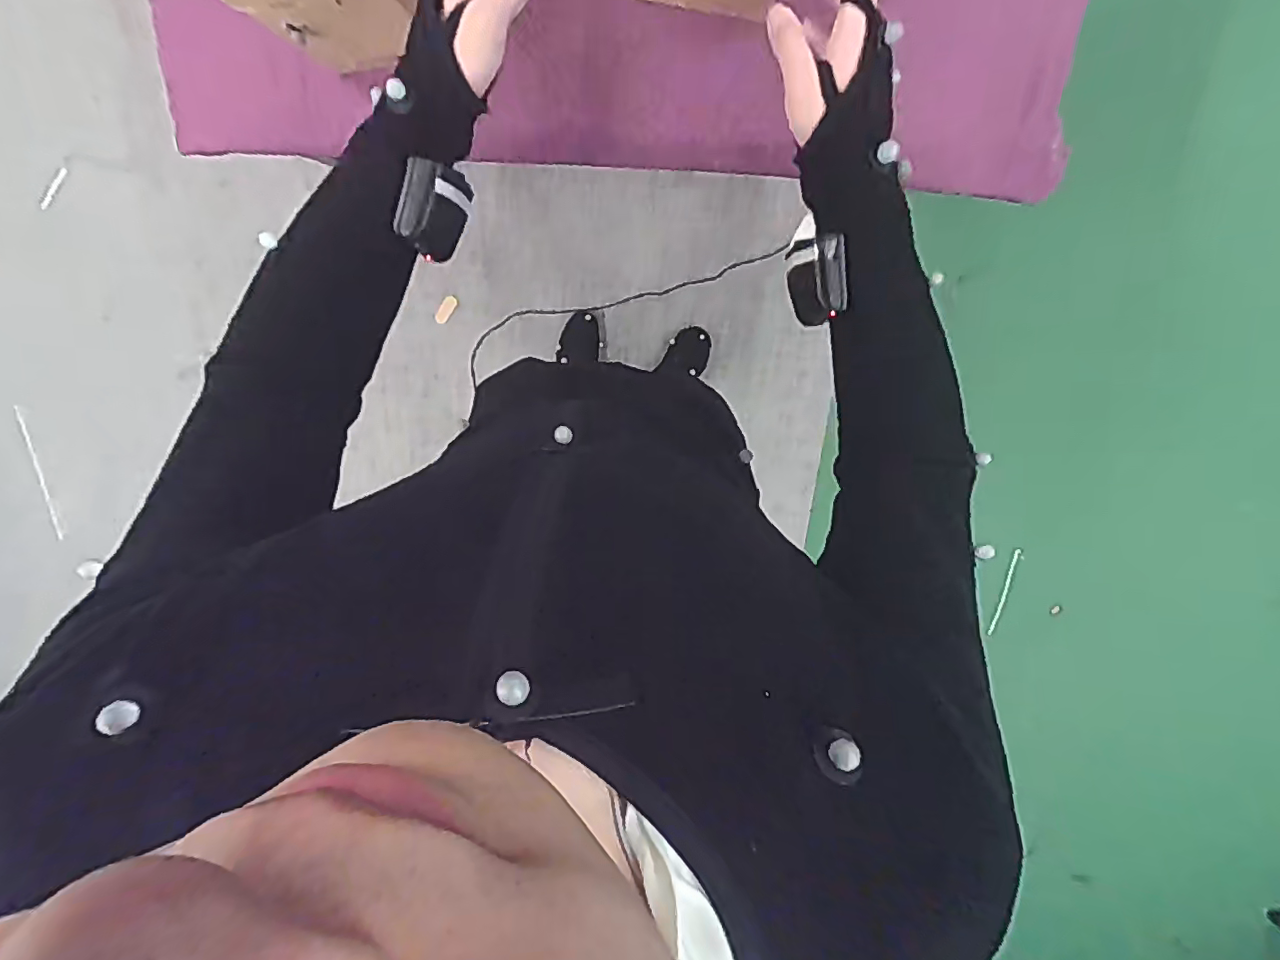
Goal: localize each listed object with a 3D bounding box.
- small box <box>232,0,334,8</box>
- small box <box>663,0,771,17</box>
[{"bbox_3d":[-0.354,-0.559,0.474,0.179,0.176,0.168,-3,108,4],"label":"small box"},{"bbox_3d":[0.087,-0.652,0.591,0.179,0.176,0.168,10,110,-1],"label":"small box"}]
